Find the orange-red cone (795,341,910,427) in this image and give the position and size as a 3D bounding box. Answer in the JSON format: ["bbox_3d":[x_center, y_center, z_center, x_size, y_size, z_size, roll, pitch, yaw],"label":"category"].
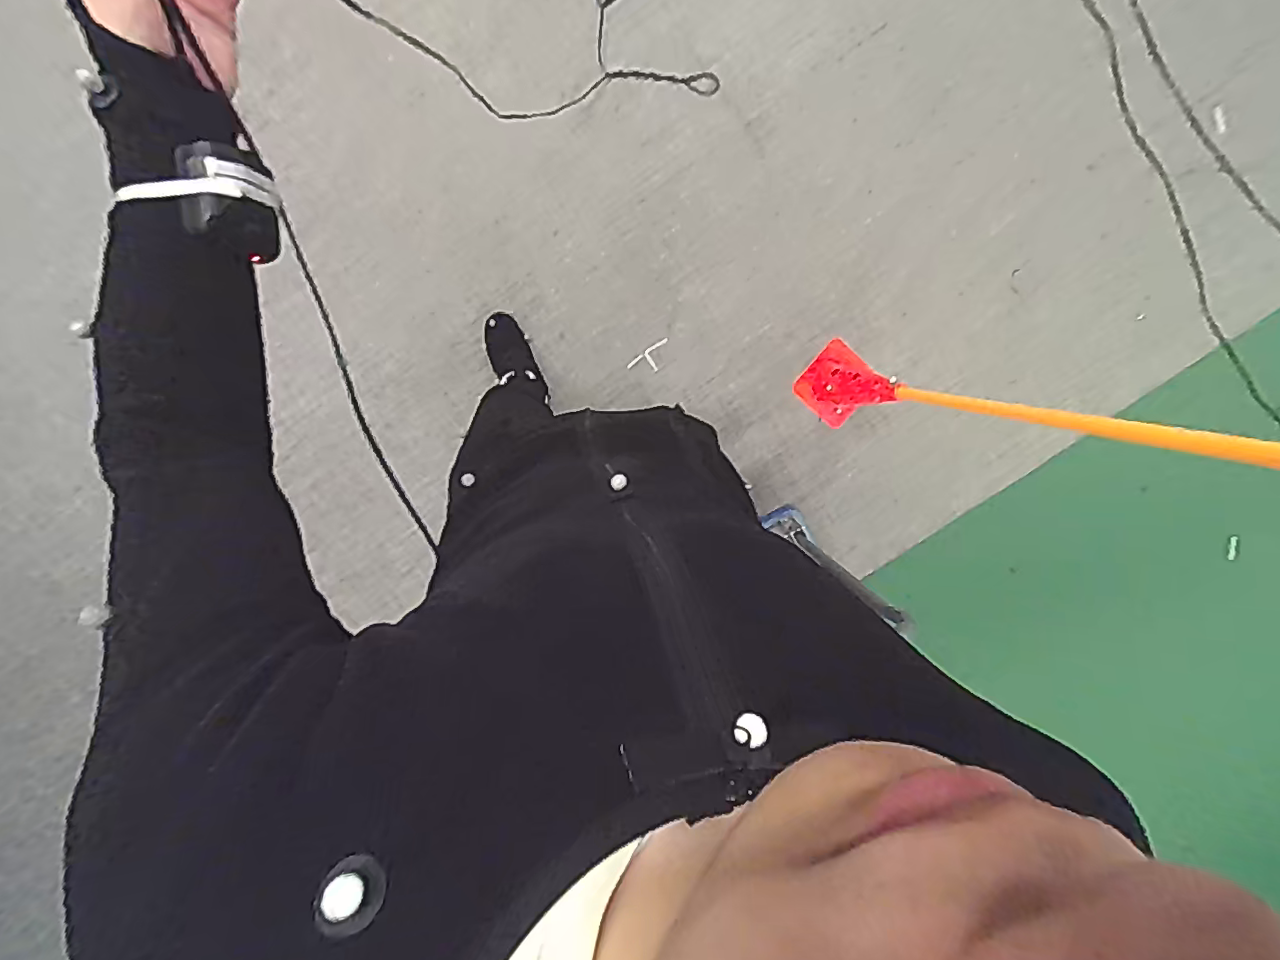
[{"bbox_3d":[0.595,-0.243,1.426,0.198,0.360,0.199,40,96,-13],"label":"orange-red cone"}]
